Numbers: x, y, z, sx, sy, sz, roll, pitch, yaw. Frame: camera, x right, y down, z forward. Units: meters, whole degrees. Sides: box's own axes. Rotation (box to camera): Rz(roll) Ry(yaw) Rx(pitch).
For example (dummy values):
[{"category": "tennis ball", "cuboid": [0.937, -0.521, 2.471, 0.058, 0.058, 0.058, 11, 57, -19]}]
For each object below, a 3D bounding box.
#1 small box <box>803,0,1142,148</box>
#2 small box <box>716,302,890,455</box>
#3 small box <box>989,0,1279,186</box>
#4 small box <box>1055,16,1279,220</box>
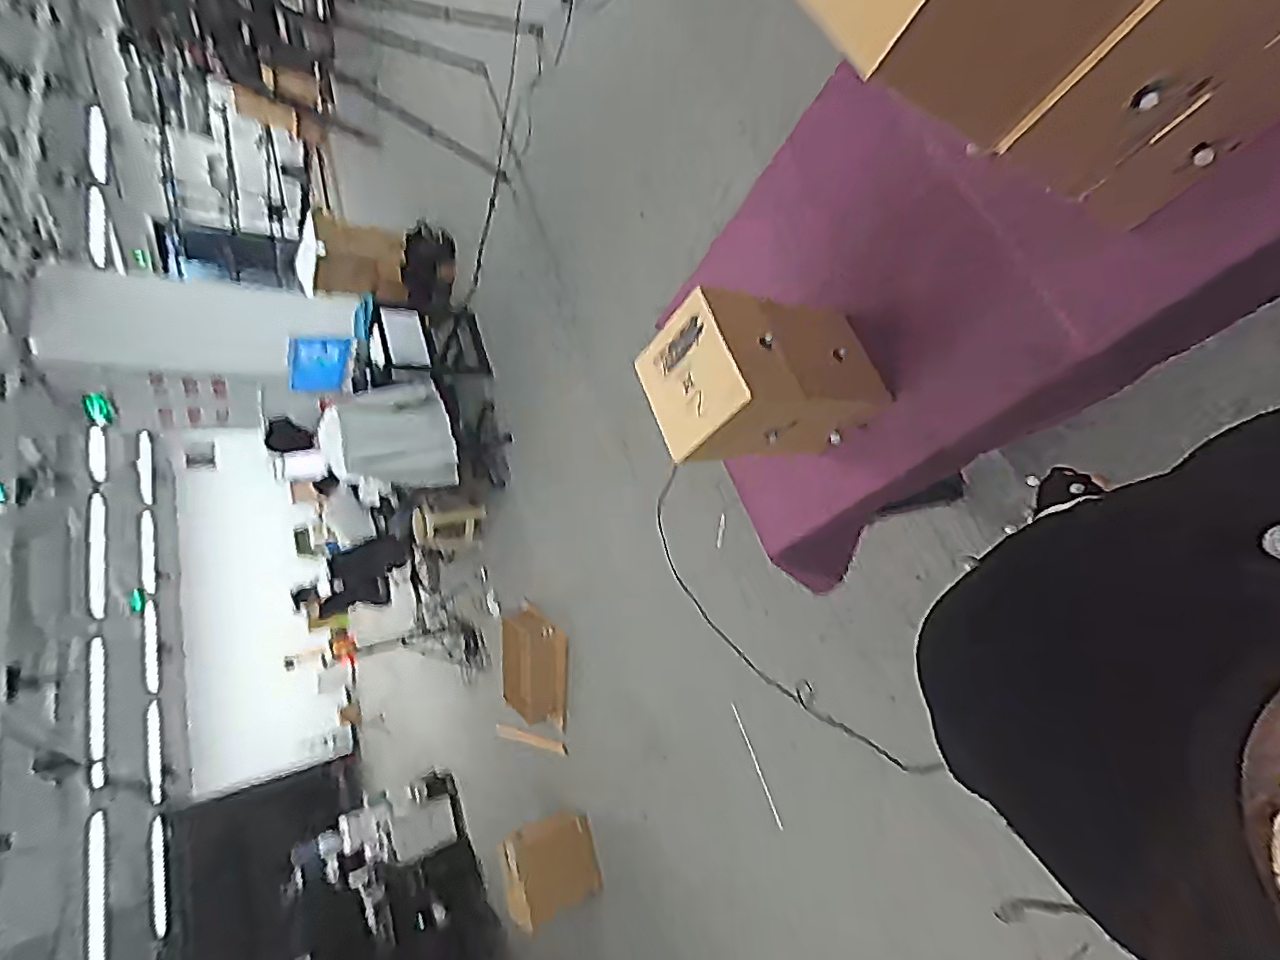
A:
[{"category": "small box", "cuboid": [0.223, -0.364, 0.350, 0.179, 0.176, 0.168, -46, 58, 46]}, {"category": "small box", "cuboid": [0.260, -0.156, 0.873, 0.168, 0.176, 0.179, -43, 62, 46]}, {"category": "small box", "cuboid": [0.357, -0.374, 0.444, 0.168, 0.176, 0.179, -45, 59, 45]}, {"category": "small box", "cuboid": [0.490, -0.388, 0.540, 0.168, 0.176, 0.179, -45, 60, 45]}]
